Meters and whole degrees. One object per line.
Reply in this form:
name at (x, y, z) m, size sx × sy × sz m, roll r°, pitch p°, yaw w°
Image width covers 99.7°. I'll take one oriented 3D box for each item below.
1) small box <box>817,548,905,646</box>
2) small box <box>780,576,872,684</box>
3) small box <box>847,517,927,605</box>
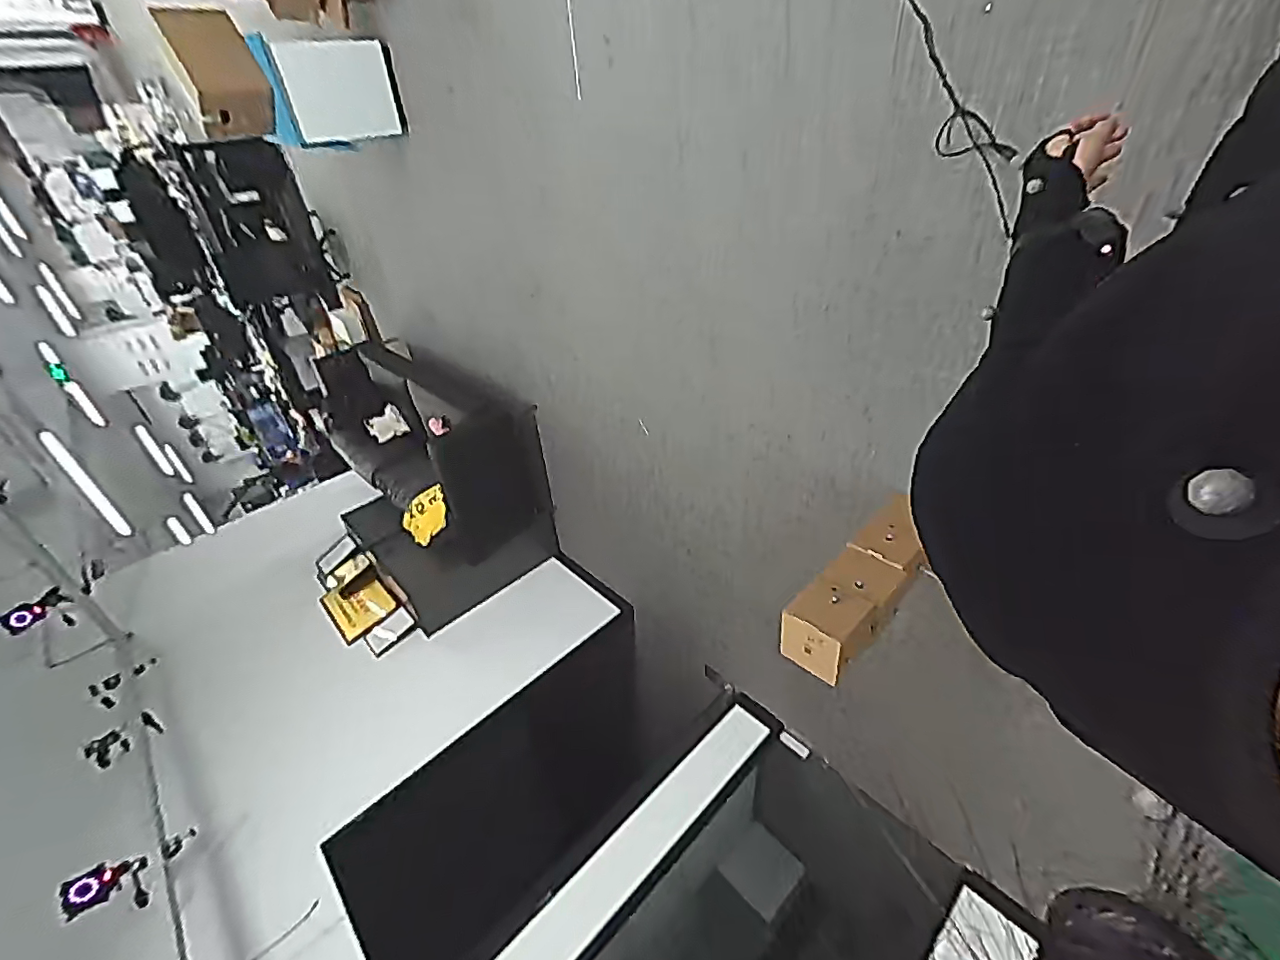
small box at (0.611, 0.319, 1.515) m, size 0.179 × 0.176 × 0.168 m, roll 29°, pitch 138°, yaw 39°
small box at (0.491, 0.391, 1.429) m, size 0.168 × 0.176 × 0.179 m, roll 27°, pitch 136°, yaw 39°
small box at (0.724, 0.237, 1.603) m, size 0.168 × 0.176 × 0.179 m, roll 28°, pitch 137°, yaw 40°
